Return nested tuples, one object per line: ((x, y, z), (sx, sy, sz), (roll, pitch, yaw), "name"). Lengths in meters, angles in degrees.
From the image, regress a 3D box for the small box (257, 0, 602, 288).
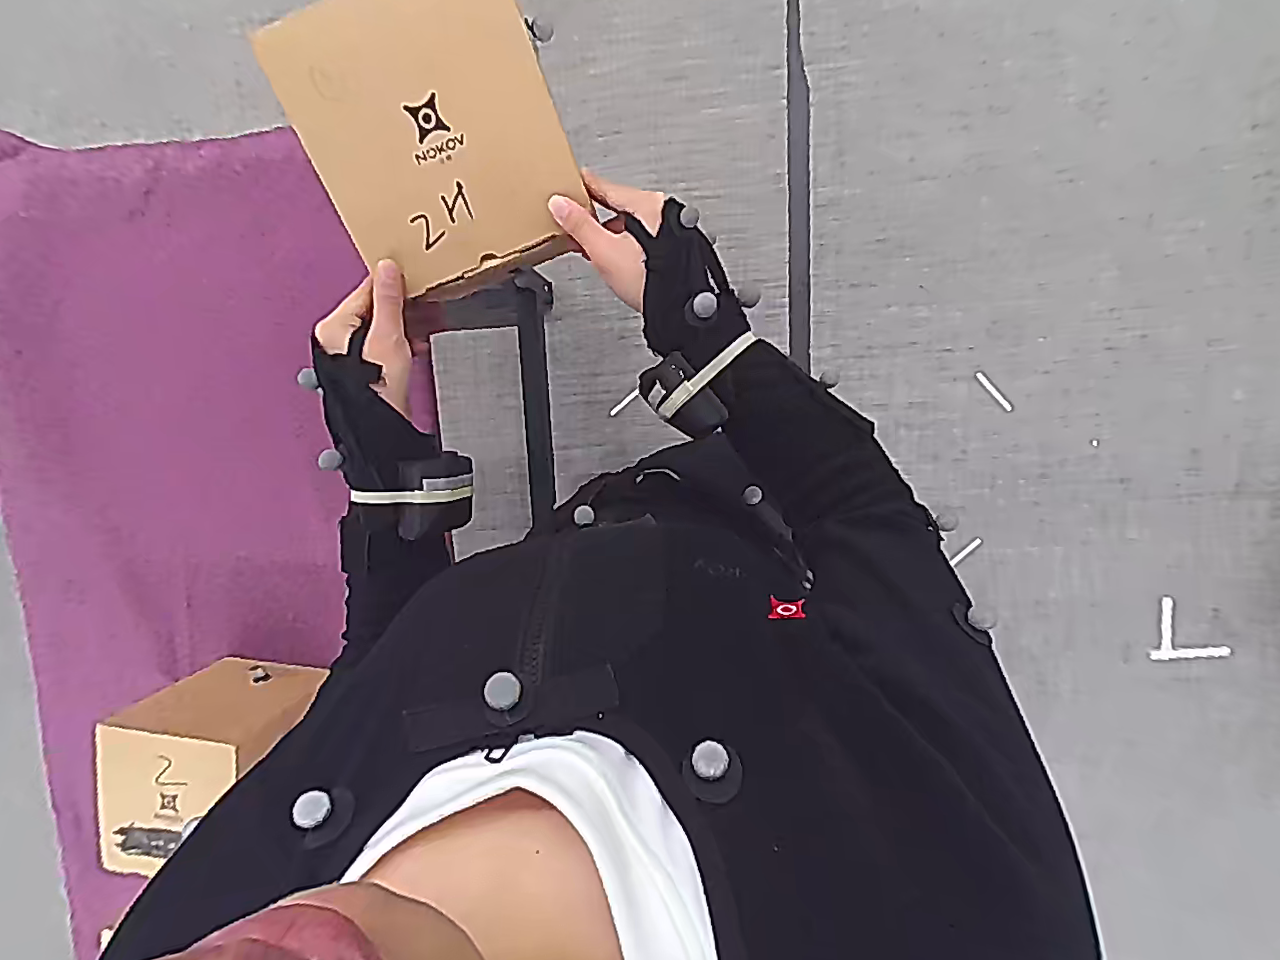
((-0.136, -0.263, 0.429), (0.168, 0.176, 0.179), (-19, 109, 6), "small box")

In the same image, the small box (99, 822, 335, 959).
((-0.515, 0.572, 0.687), (0.179, 0.176, 0.168), (3, 97, 5), "small box")
